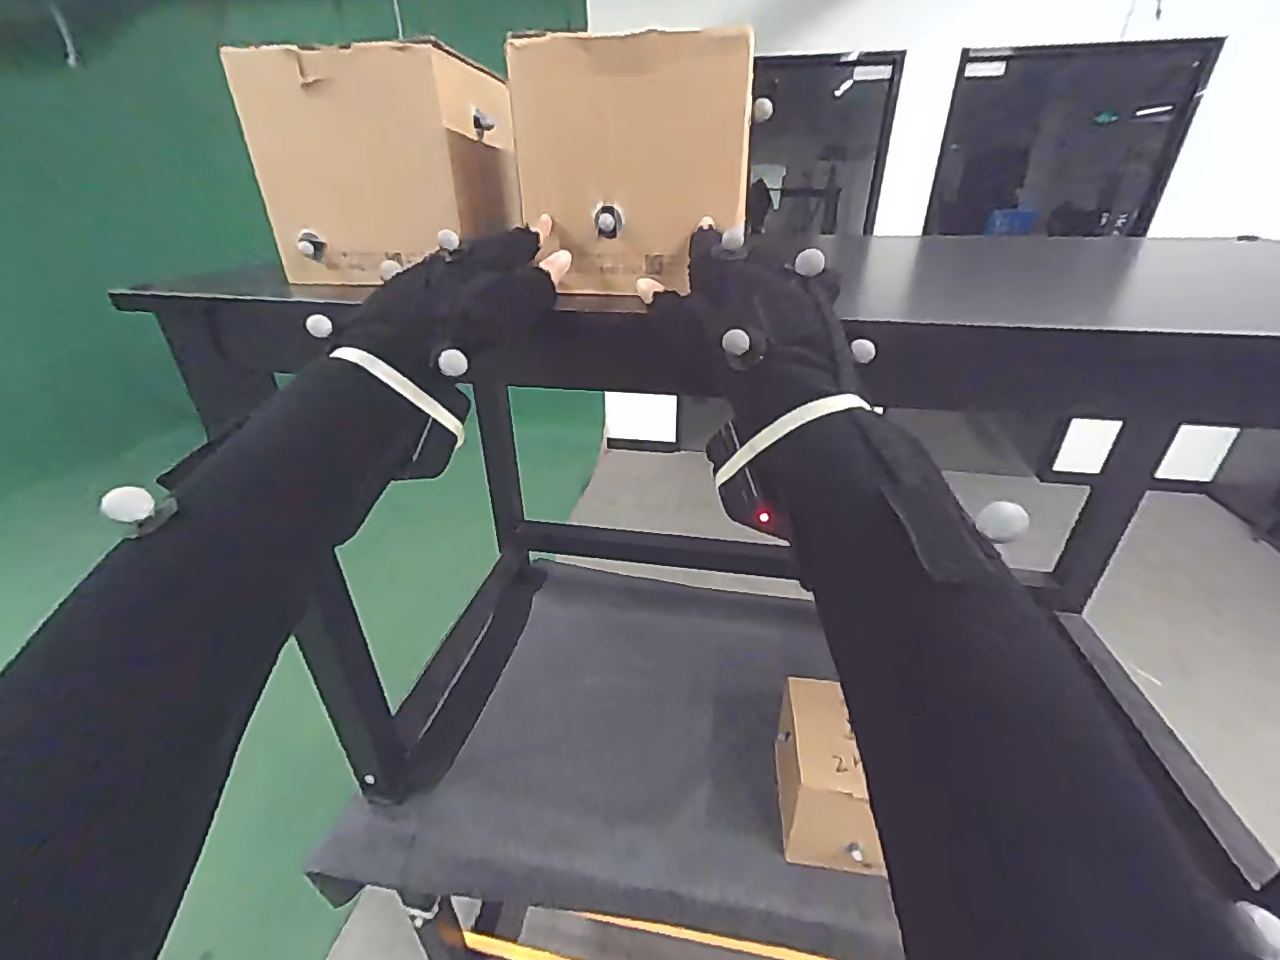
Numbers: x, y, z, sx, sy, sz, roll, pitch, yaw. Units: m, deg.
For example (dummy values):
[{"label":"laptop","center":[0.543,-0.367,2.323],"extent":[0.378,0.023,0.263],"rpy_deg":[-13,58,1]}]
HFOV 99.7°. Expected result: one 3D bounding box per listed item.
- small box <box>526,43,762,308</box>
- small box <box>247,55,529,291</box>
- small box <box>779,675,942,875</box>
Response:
[{"label":"small box","center":[0.013,-0.255,0.472],"extent":[0.168,0.176,0.179],"rpy_deg":[4,29,9]},{"label":"small box","center":[-0.210,-0.278,0.513],"extent":[0.168,0.176,0.179],"rpy_deg":[3,28,5]},{"label":"small box","center":[0.294,0.410,0.766],"extent":[0.168,0.176,0.179],"rpy_deg":[3,28,8]}]
